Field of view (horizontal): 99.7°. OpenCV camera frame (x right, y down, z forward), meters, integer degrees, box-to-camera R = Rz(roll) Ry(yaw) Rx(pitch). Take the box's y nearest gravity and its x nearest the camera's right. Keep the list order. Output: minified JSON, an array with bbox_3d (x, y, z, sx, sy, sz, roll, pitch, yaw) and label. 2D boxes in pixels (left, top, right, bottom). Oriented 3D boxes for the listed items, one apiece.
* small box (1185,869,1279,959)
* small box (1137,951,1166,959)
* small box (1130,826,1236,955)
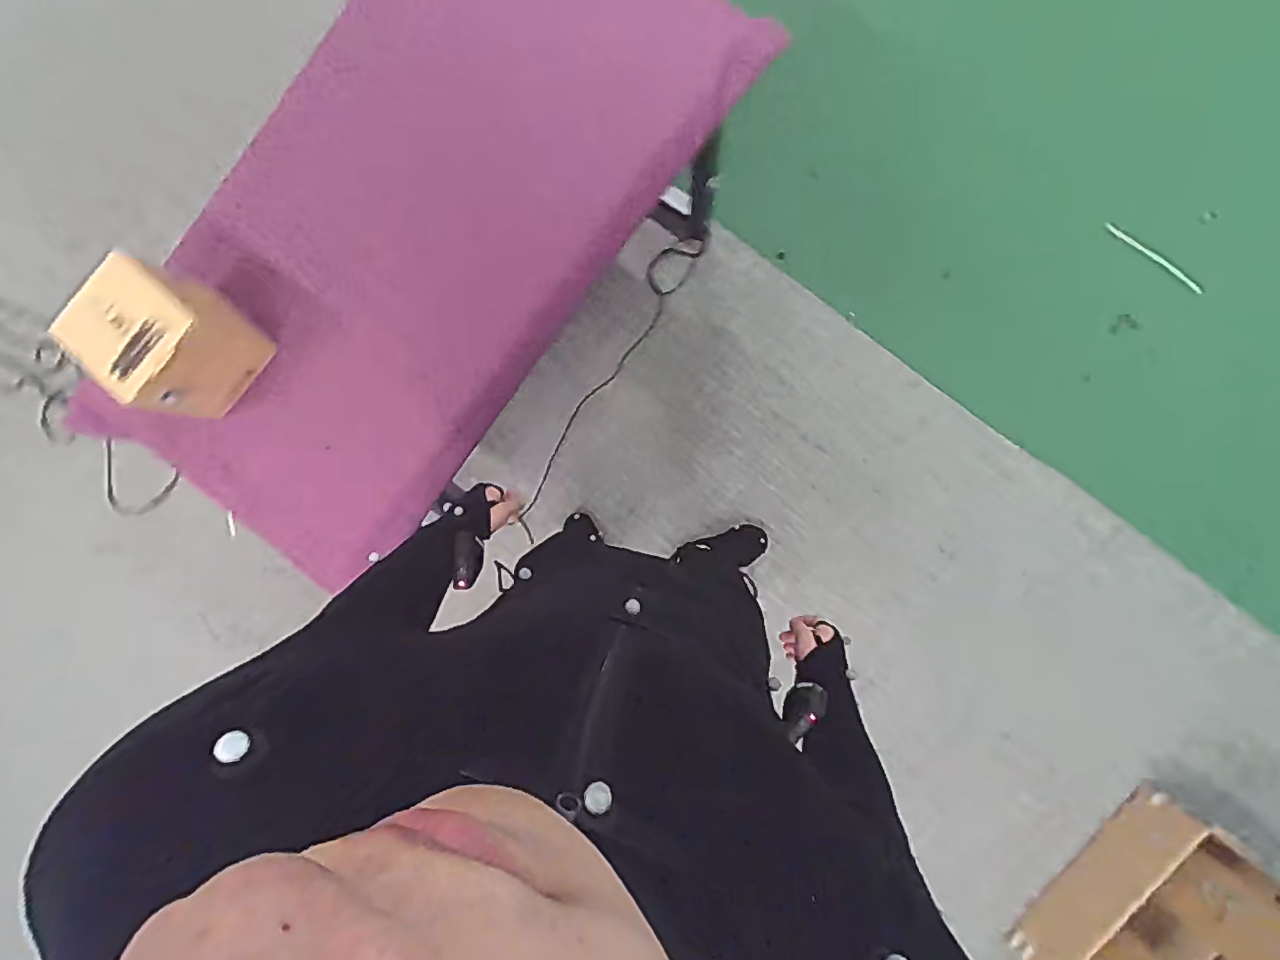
[{"bbox_3d":[1.451,1.060,1.248,0.179,0.176,0.168,41,93,3],"label":"small box"},{"bbox_3d":[1.272,1.272,1.260,0.179,0.176,0.168,41,92,4],"label":"small box"},{"bbox_3d":[1.463,1.061,1.410,0.179,0.176,0.168,41,92,2],"label":"small box"}]
